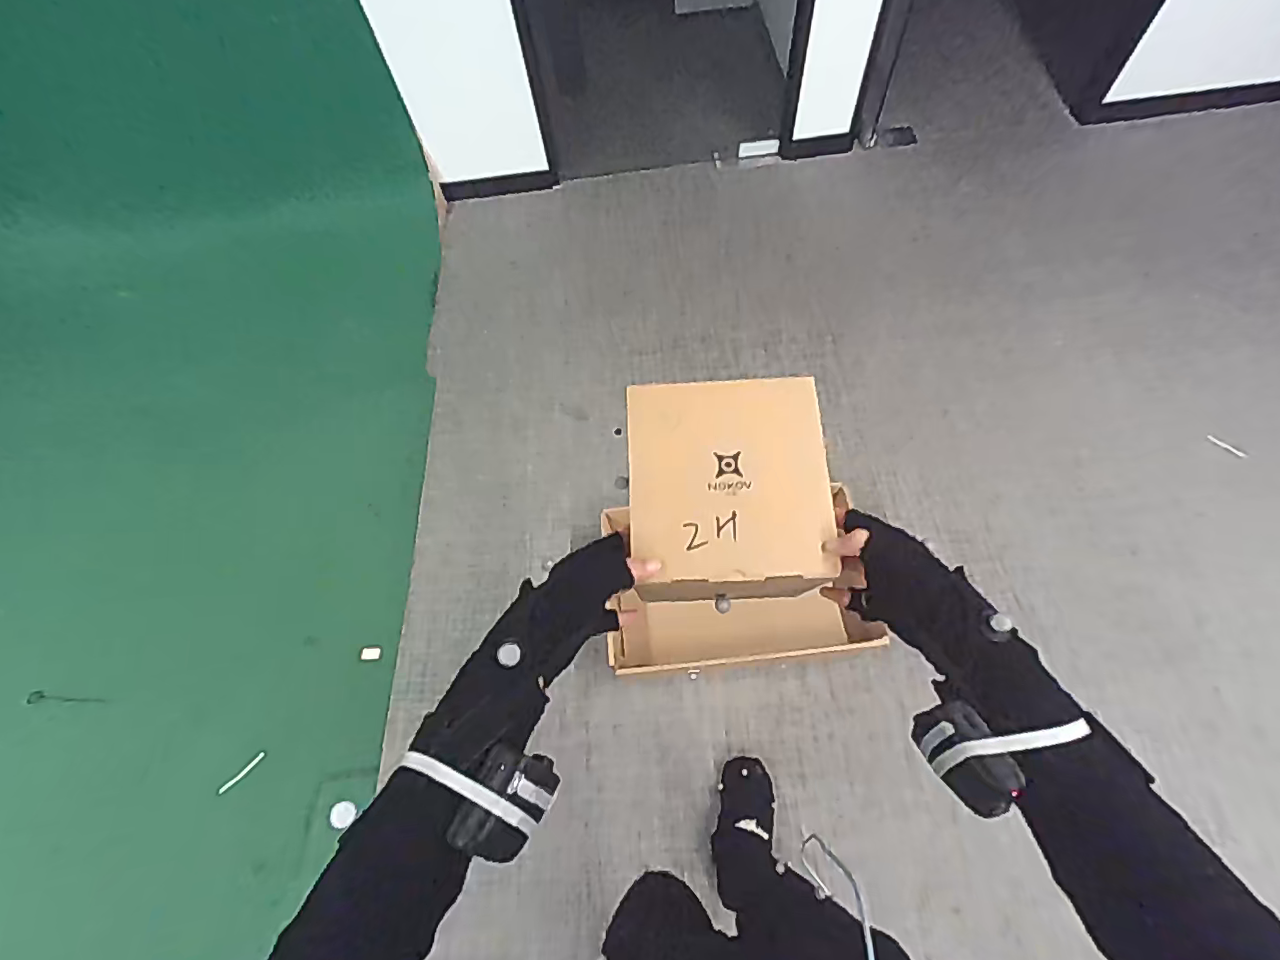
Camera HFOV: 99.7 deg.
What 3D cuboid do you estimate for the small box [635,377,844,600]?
[{"bbox_3d":[0.080,0.018,0.524,0.168,0.176,0.179,-2,73,3],"label":"small box"}]
